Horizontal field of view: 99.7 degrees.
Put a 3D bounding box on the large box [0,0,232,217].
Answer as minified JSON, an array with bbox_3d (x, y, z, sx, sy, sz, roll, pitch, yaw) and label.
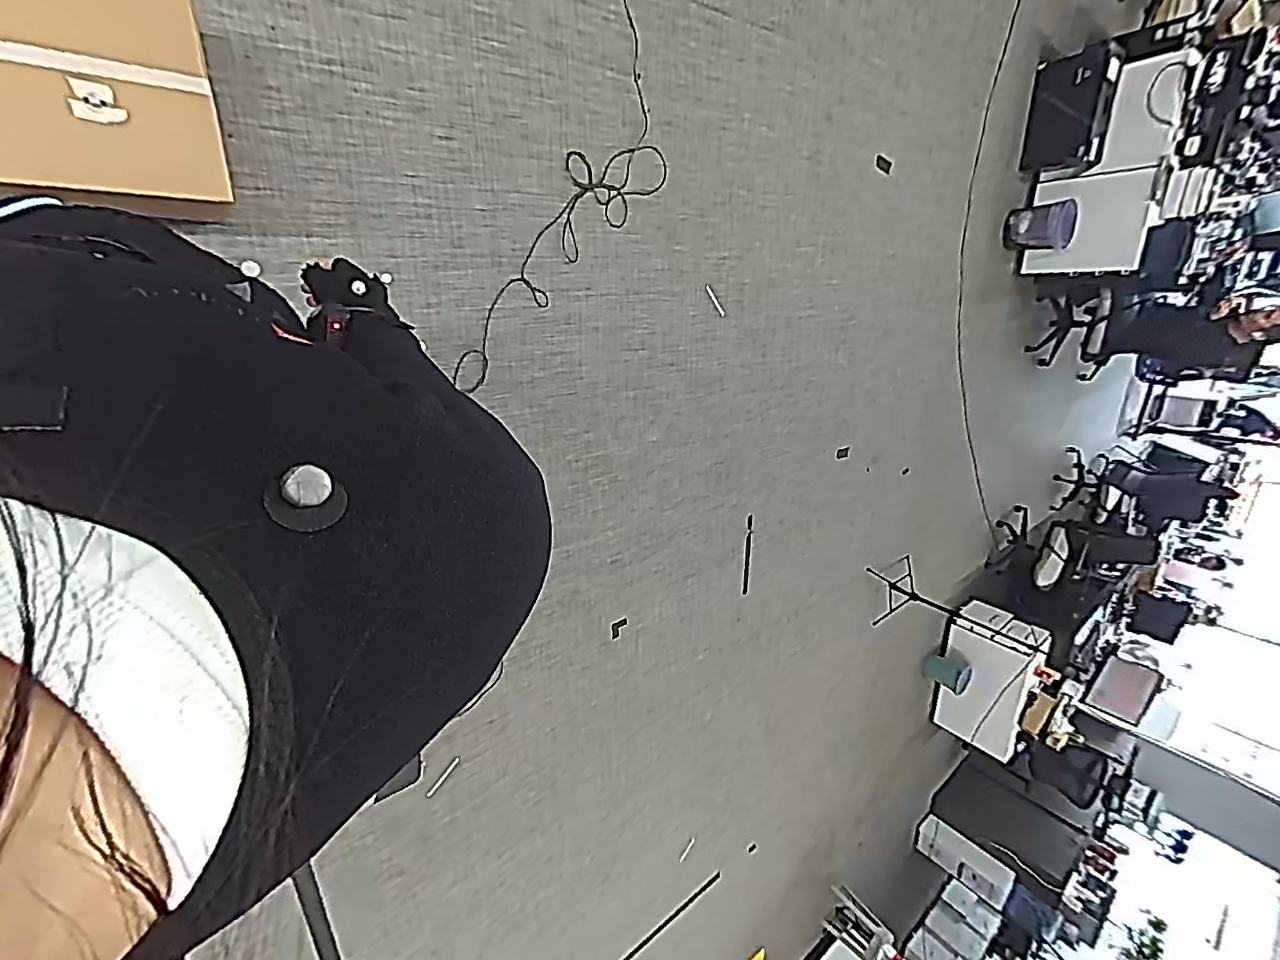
[{"bbox_3d":[-0.906,-0.596,0.816,0.408,0.320,0.320,-14,114,-37],"label":"large box"}]
